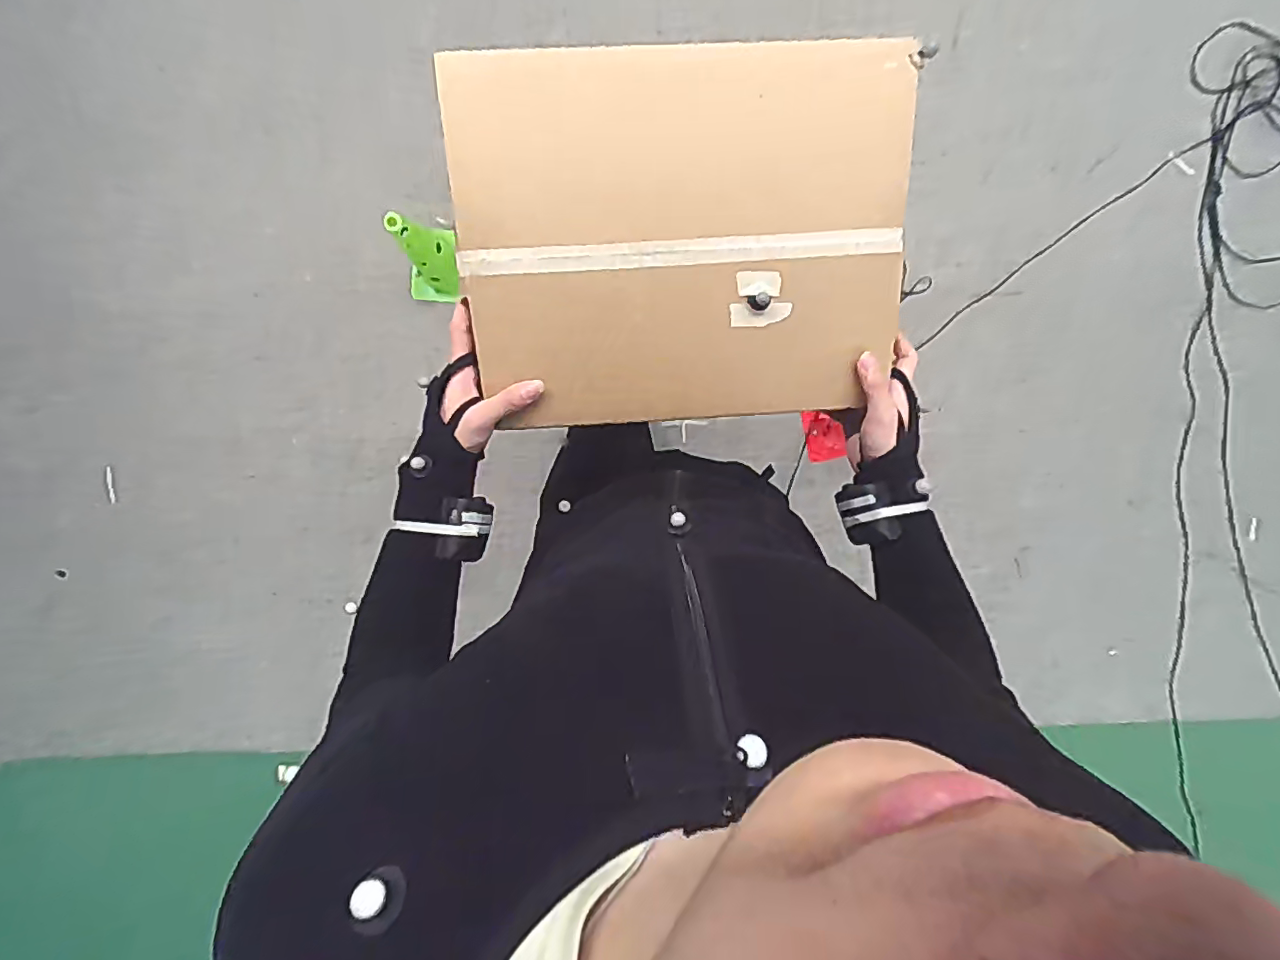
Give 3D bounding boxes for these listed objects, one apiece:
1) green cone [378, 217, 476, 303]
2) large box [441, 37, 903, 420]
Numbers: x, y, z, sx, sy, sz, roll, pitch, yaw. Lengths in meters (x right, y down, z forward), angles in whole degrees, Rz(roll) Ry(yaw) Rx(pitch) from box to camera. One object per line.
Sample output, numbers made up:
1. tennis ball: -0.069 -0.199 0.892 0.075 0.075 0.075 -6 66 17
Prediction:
1. green cone: -0.566 -0.592 1.376 0.200 0.368 0.202 4 97 0
2. large box: 0.027 -0.267 0.644 0.408 0.320 0.320 -4 109 -3
